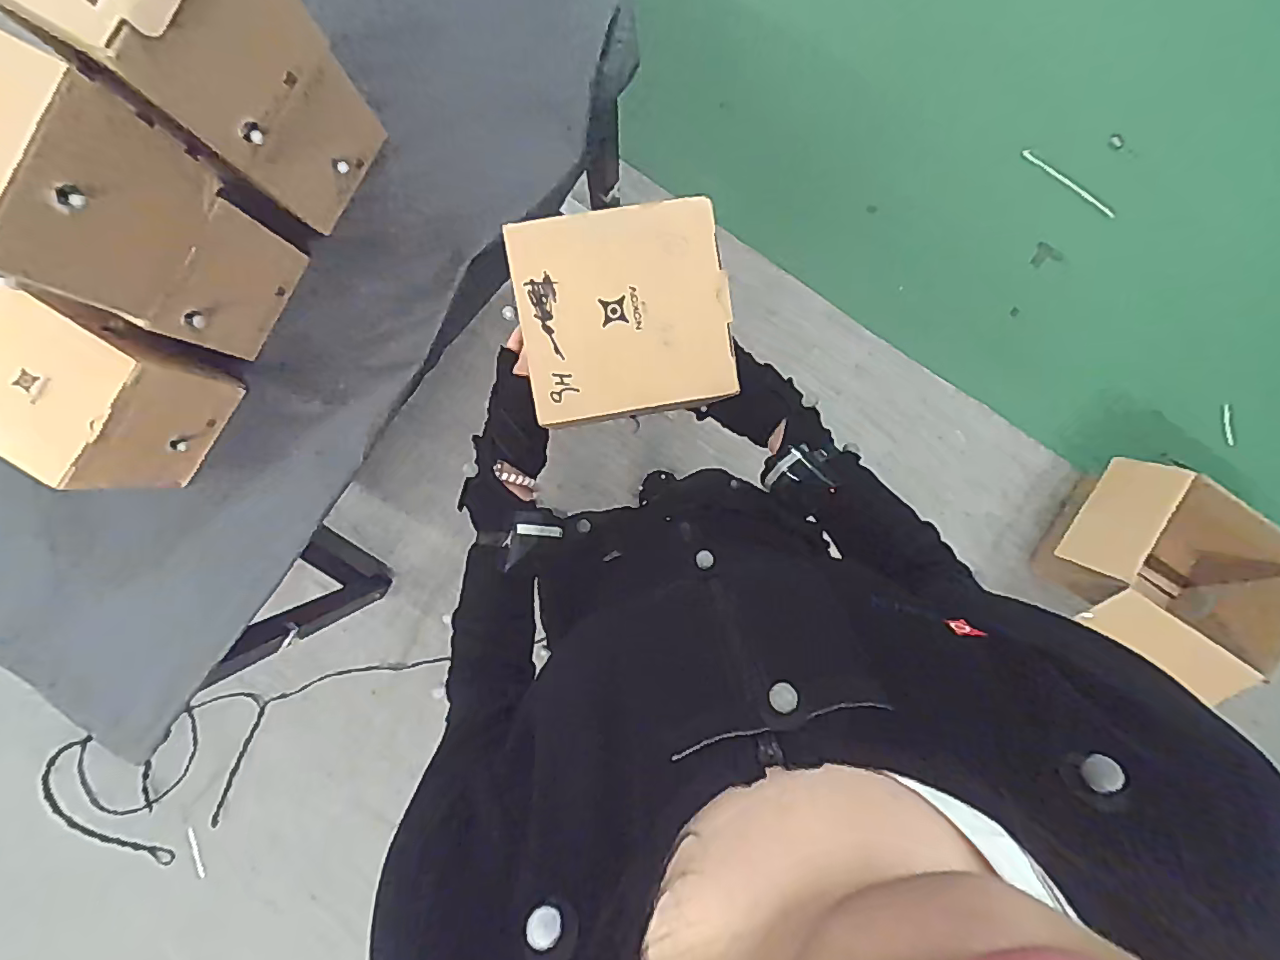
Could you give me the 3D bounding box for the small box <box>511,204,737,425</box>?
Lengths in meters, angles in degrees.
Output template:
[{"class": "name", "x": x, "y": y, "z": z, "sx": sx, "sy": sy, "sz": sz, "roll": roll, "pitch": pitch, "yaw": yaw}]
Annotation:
[{"class": "small box", "x": -0.019, "y": -0.148, "z": 0.534, "sx": 0.179, "sy": 0.176, "sz": 0.168, "roll": -9, "pitch": 94, "yaw": -5}]
